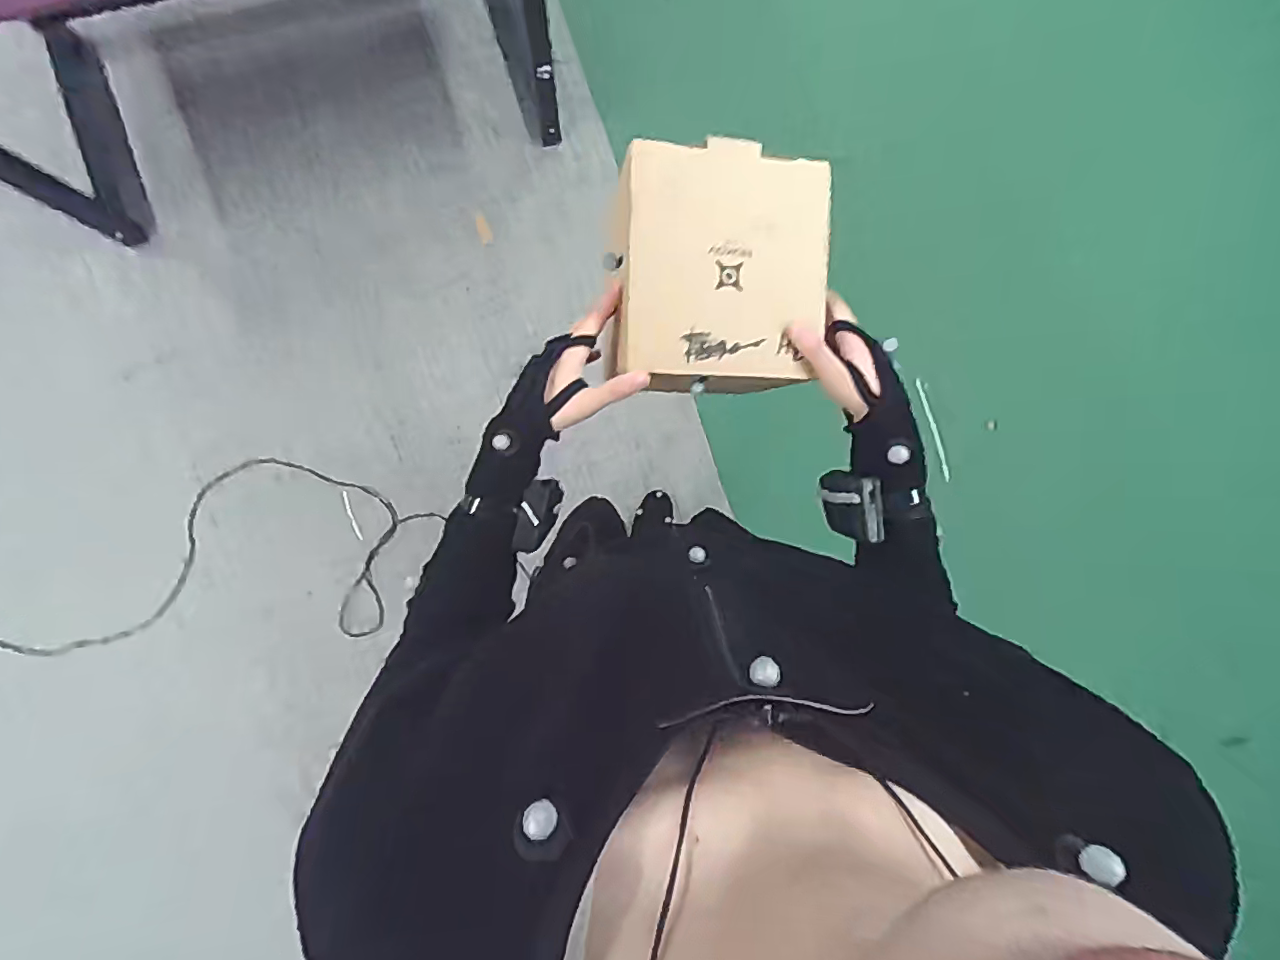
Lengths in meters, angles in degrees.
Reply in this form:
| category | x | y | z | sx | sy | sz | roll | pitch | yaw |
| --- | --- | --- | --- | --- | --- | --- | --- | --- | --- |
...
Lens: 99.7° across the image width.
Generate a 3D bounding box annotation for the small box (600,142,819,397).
| category | x | y | z | sx | sy | sz | roll | pitch | yaw |
| --- | --- | --- | --- | --- | --- | --- | --- | --- | --- |
| small box | 0.051 | -0.177 | 0.511 | 0.168 | 0.176 | 0.179 | 0 | 93 | -10 |
